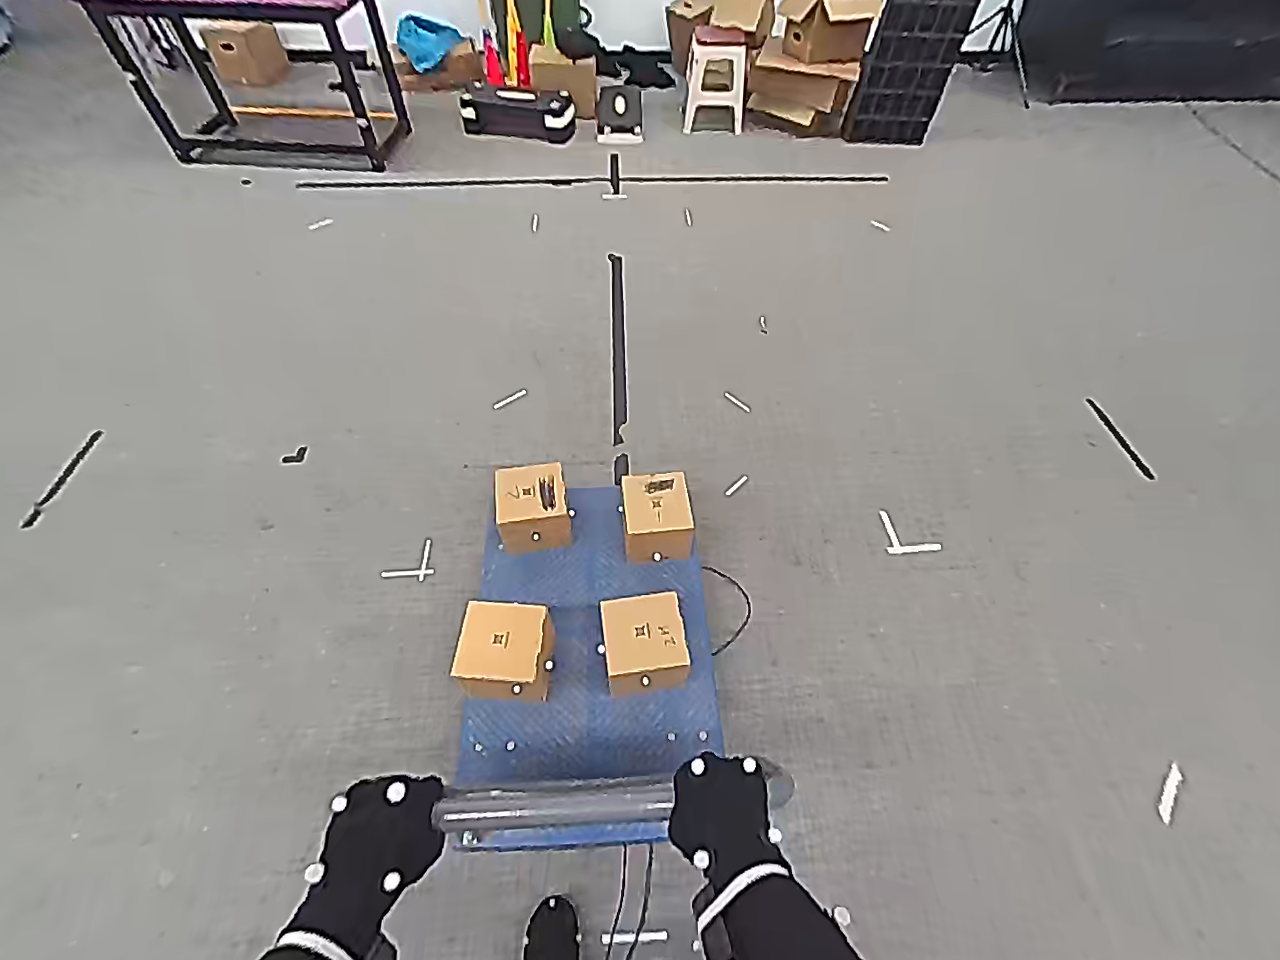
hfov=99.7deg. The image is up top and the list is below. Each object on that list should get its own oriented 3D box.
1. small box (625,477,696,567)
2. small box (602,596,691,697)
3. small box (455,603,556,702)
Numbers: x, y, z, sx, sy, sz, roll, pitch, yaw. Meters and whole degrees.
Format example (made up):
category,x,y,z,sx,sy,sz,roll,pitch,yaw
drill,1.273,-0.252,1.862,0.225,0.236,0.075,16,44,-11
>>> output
category,x,y,z,sx,sy,sz,roll,pitch,yaw
small box,0.047,0.112,1.434,0.168,0.176,0.179,-4,55,-4
small box,0.012,0.383,1.234,0.179,0.176,0.168,-6,54,-5
small box,-0.293,0.394,1.222,0.179,0.176,0.168,4,53,0
